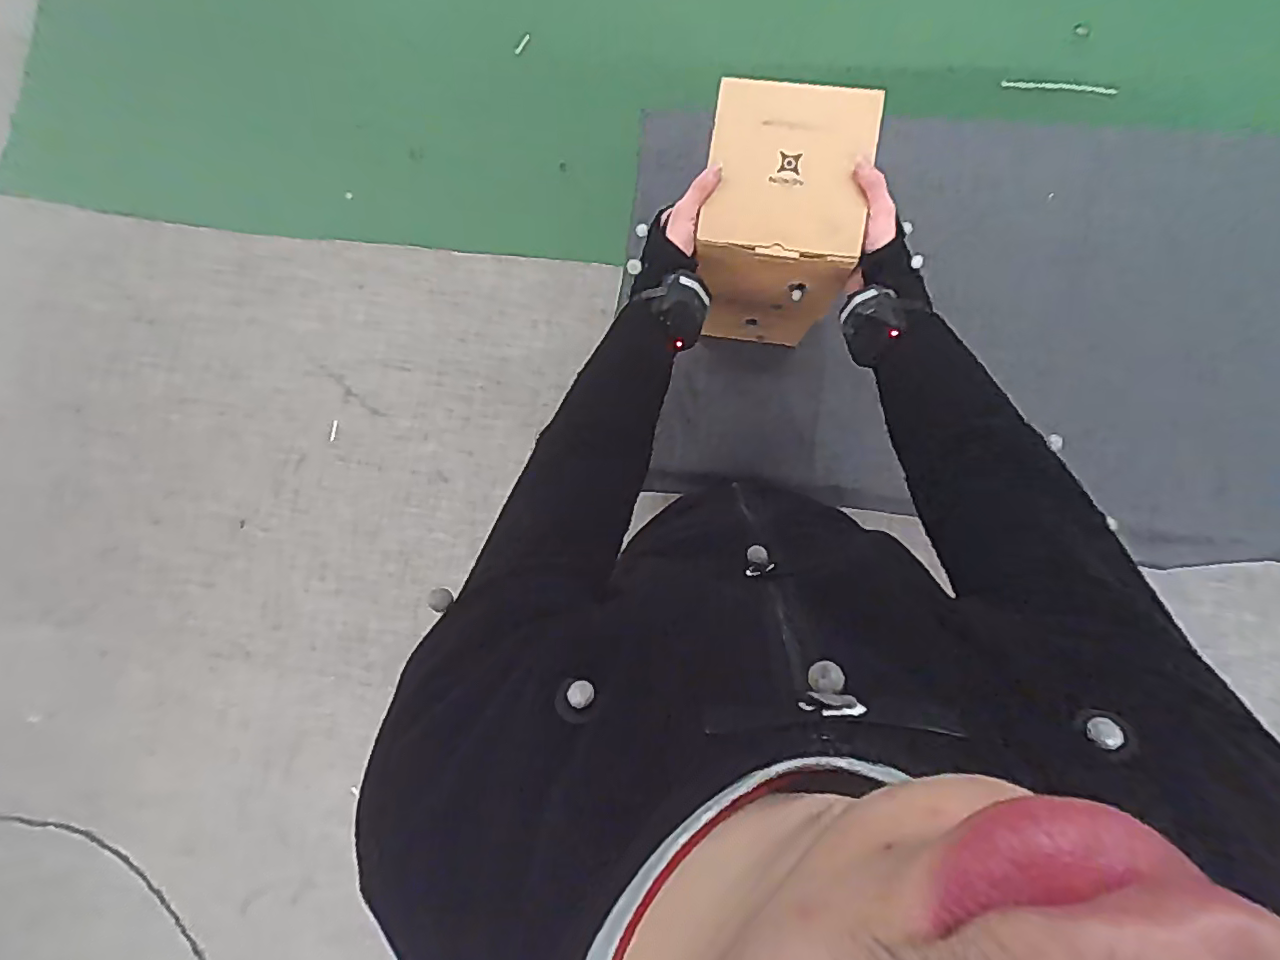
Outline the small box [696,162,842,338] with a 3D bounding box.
[{"bbox_3d":[0.175,-0.318,0.781,0.168,0.176,0.179,9,87,4],"label":"small box"}]
